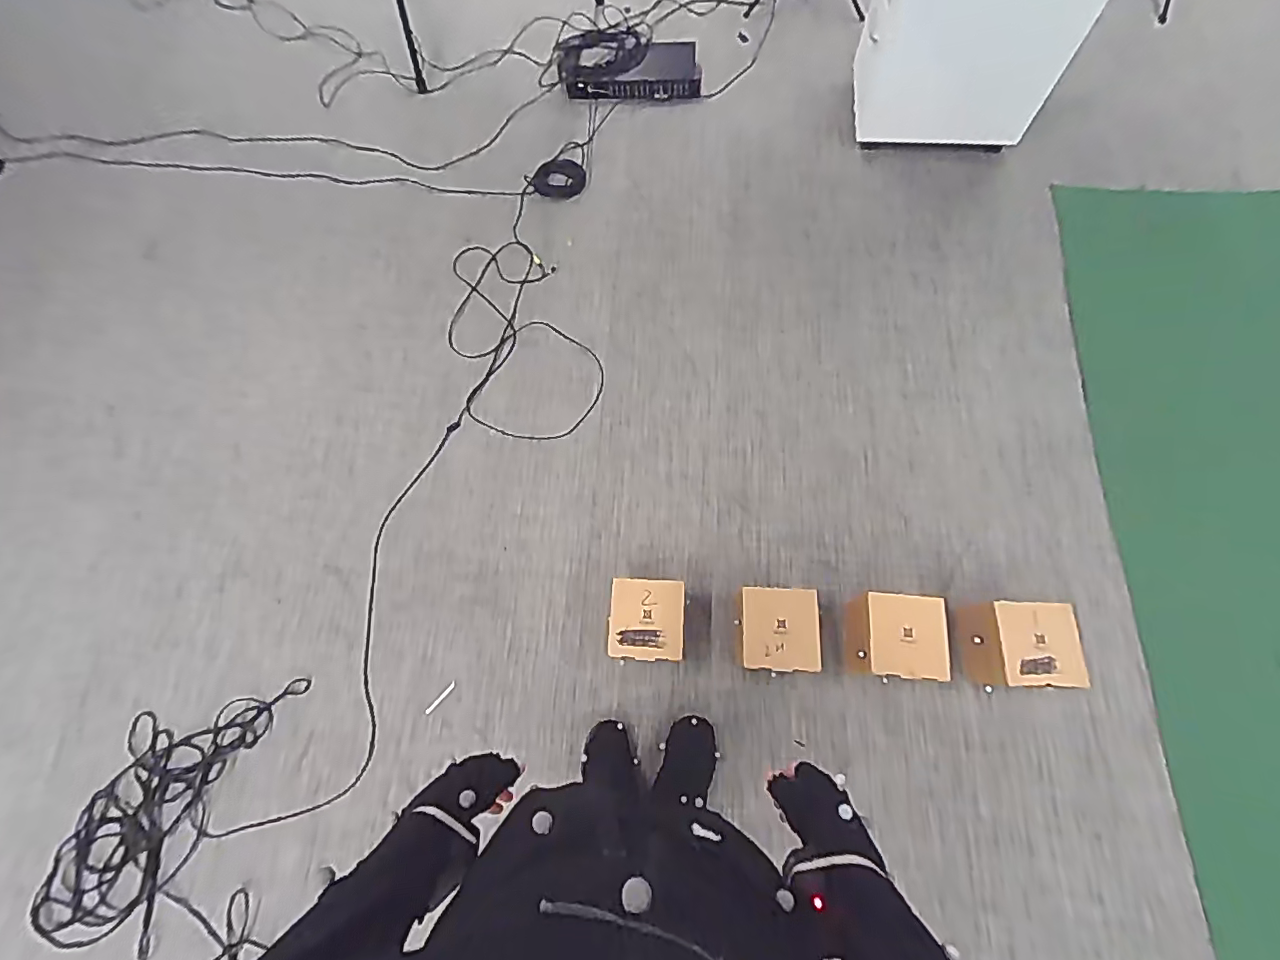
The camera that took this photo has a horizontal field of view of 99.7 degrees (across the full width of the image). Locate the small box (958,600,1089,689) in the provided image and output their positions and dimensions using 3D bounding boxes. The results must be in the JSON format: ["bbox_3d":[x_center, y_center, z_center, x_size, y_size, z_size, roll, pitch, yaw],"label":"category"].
[{"bbox_3d":[0.846,0.370,1.213,0.168,0.176,0.179,1,70,3],"label":"small box"}]

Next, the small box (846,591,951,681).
[{"bbox_3d":[0.578,0.358,1.234,0.168,0.176,0.179,4,71,4],"label":"small box"}]

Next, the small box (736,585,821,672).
[{"bbox_3d":[0.311,0.346,1.250,0.168,0.176,0.179,2,71,5],"label":"small box"}]
